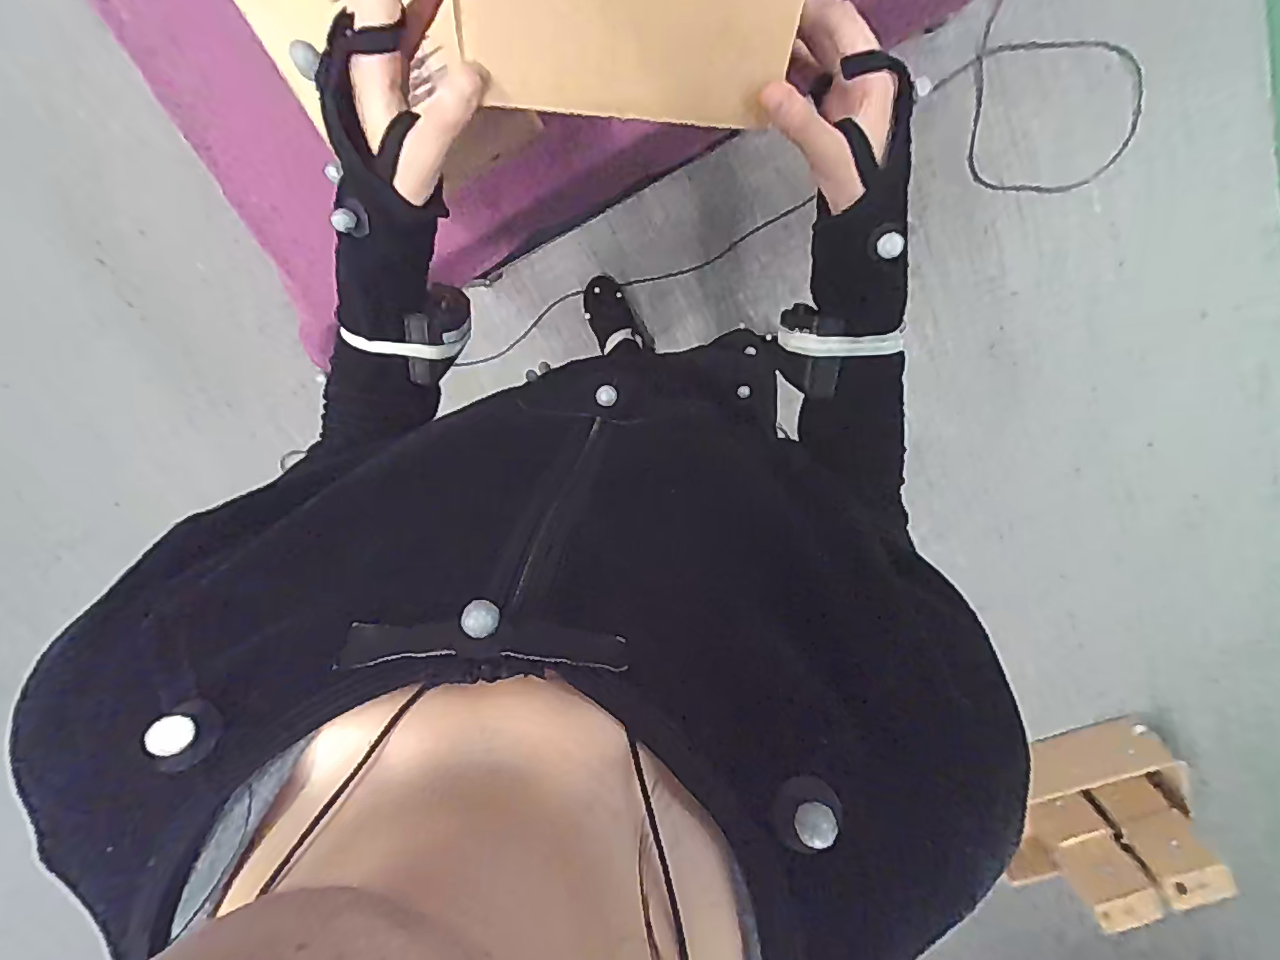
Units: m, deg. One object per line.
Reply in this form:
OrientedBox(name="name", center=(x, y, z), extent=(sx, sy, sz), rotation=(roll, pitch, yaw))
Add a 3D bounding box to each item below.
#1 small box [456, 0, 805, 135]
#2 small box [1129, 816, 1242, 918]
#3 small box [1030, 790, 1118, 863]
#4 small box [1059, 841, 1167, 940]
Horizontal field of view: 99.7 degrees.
OrientedBox(name="small box", center=(-0.011, -0.307, 0.275), extent=(0.168, 0.176, 0.179), rotation=(-4, 137, -15))
OrientedBox(name="small box", center=(1.644, 1.171, 1.644), extent=(0.179, 0.176, 0.168), rotation=(-28, 107, 12))
OrientedBox(name="small box", center=(1.477, 1.202, 1.838), extent=(0.168, 0.176, 0.179), rotation=(-24, 108, 9))
OrientedBox(name="small box", center=(1.474, 1.279, 1.693), extent=(0.179, 0.176, 0.168), rotation=(-29, 108, 10))
